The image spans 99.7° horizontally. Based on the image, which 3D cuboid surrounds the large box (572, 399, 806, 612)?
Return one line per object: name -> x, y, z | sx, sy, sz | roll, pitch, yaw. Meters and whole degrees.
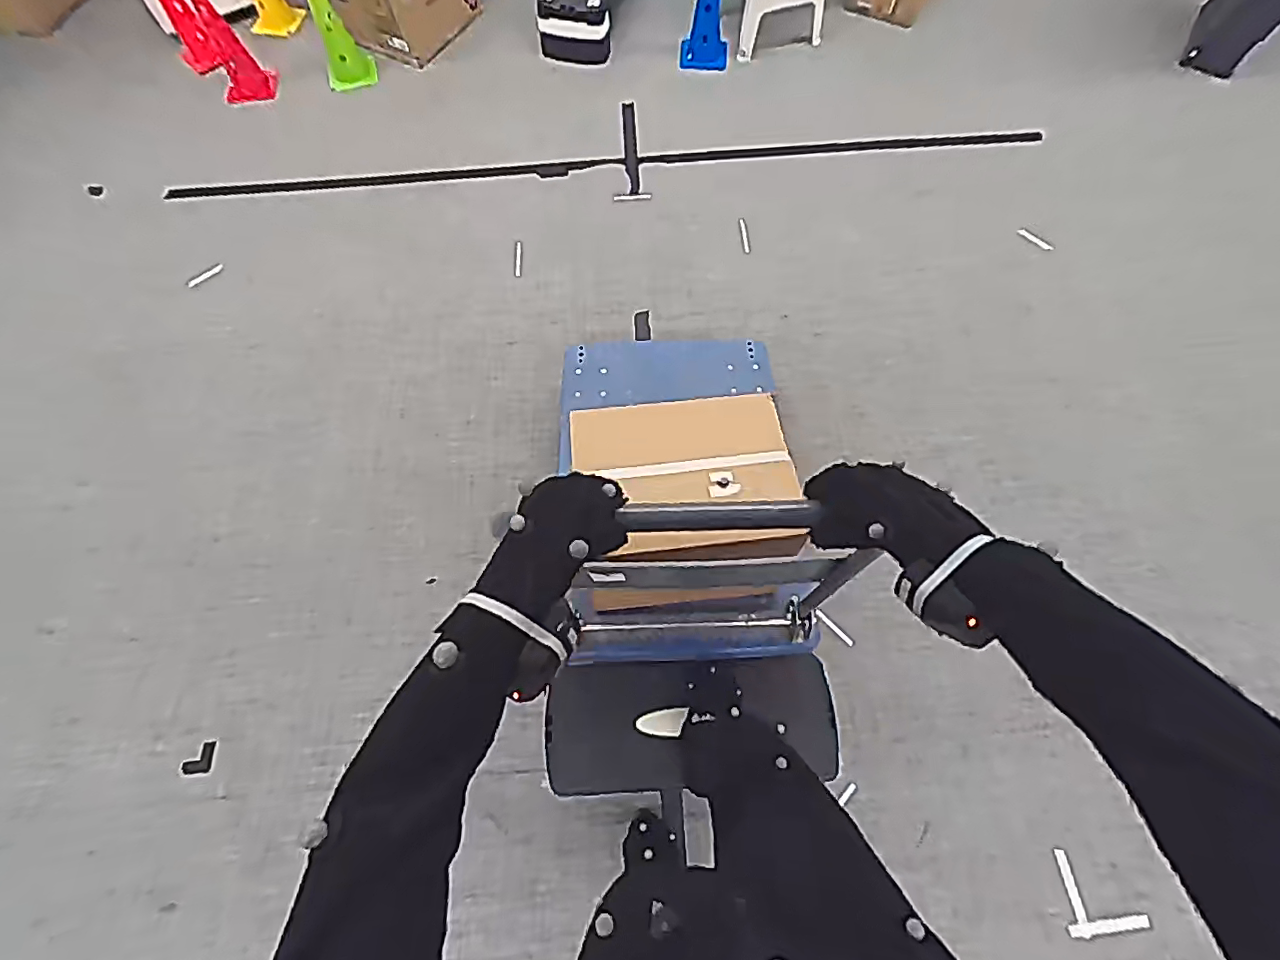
large box -> 0.078, 0.063, 1.143 | 0.408, 0.320, 0.320 | -6, 60, -4
